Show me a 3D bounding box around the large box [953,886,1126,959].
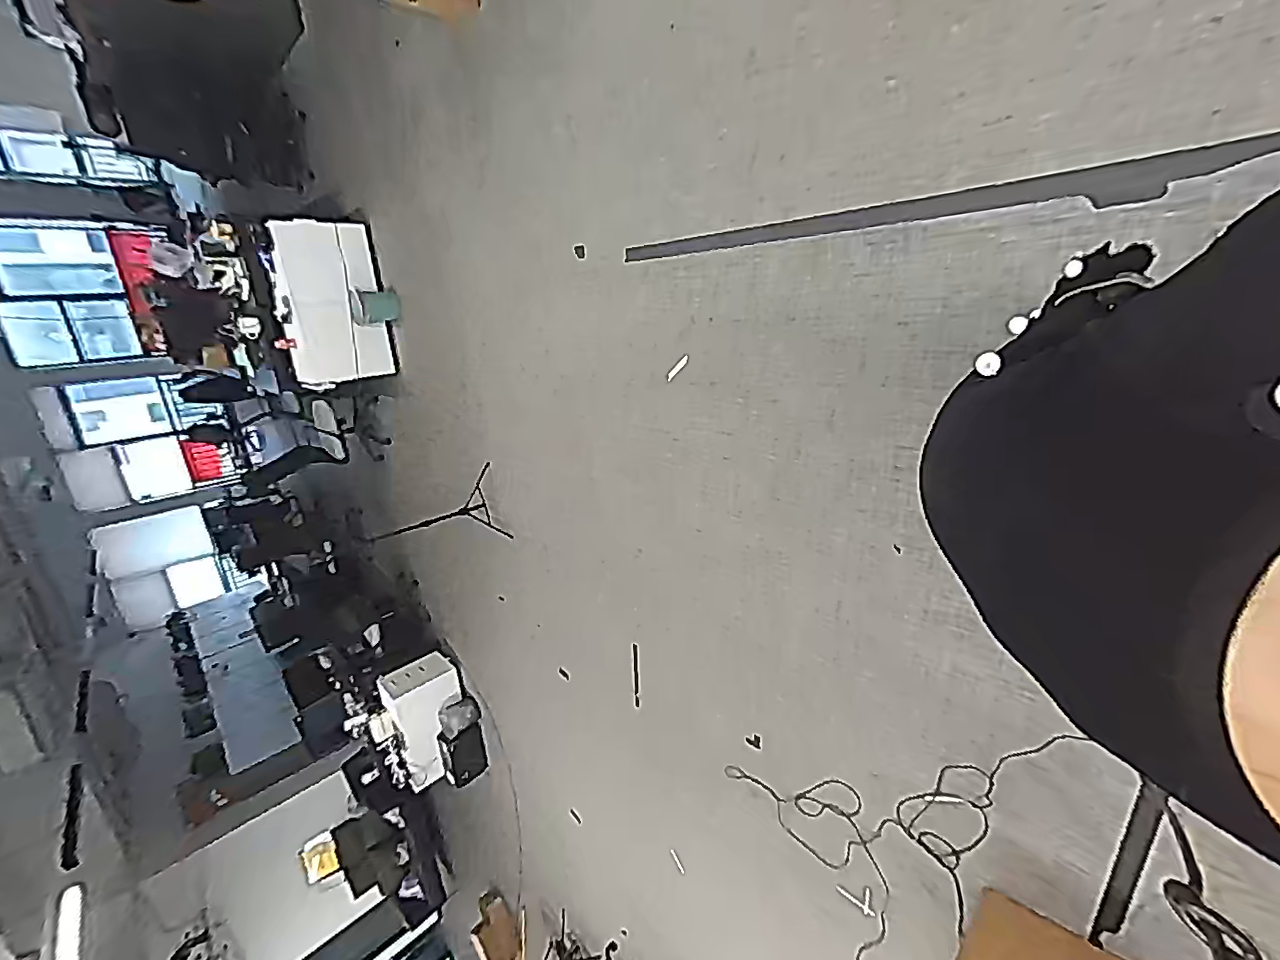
[{"bbox_3d":[1.117,1.440,1.459,0.408,0.320,0.320,6,110,48],"label":"large box"}]
